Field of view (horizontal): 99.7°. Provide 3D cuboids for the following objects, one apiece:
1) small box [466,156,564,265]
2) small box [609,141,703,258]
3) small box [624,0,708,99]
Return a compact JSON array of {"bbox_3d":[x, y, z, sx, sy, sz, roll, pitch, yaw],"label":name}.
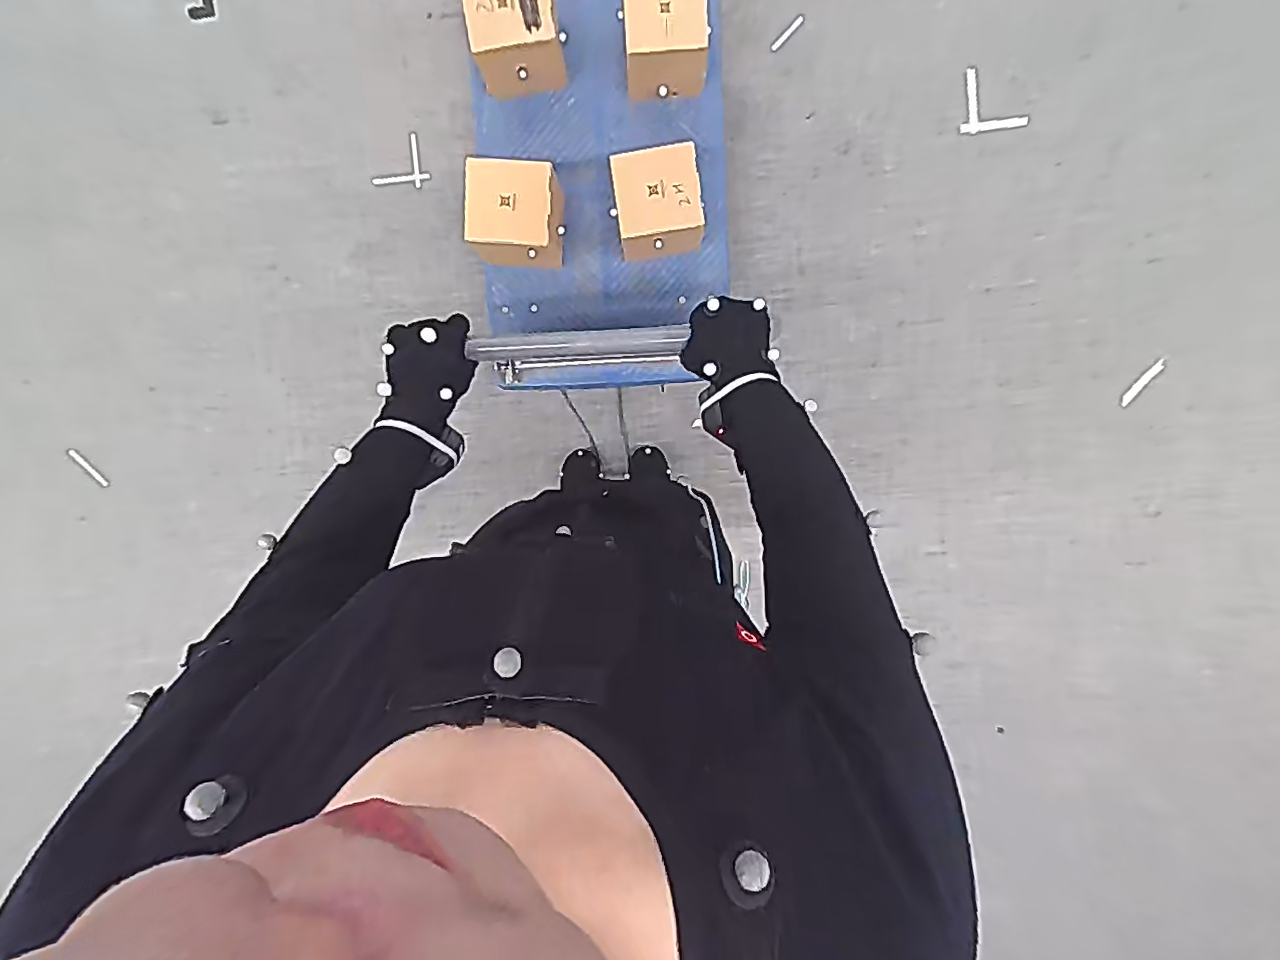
[{"bbox_3d":[-0.269,-0.583,1.189,0.179,0.176,0.168,3,95,-1],"label":"small box"},{"bbox_3d":[0.037,-0.600,1.180,0.179,0.176,0.168,-8,95,2],"label":"small box"},{"bbox_3d":[0.051,-0.951,1.147,0.168,0.176,0.179,-3,96,1],"label":"small box"}]
